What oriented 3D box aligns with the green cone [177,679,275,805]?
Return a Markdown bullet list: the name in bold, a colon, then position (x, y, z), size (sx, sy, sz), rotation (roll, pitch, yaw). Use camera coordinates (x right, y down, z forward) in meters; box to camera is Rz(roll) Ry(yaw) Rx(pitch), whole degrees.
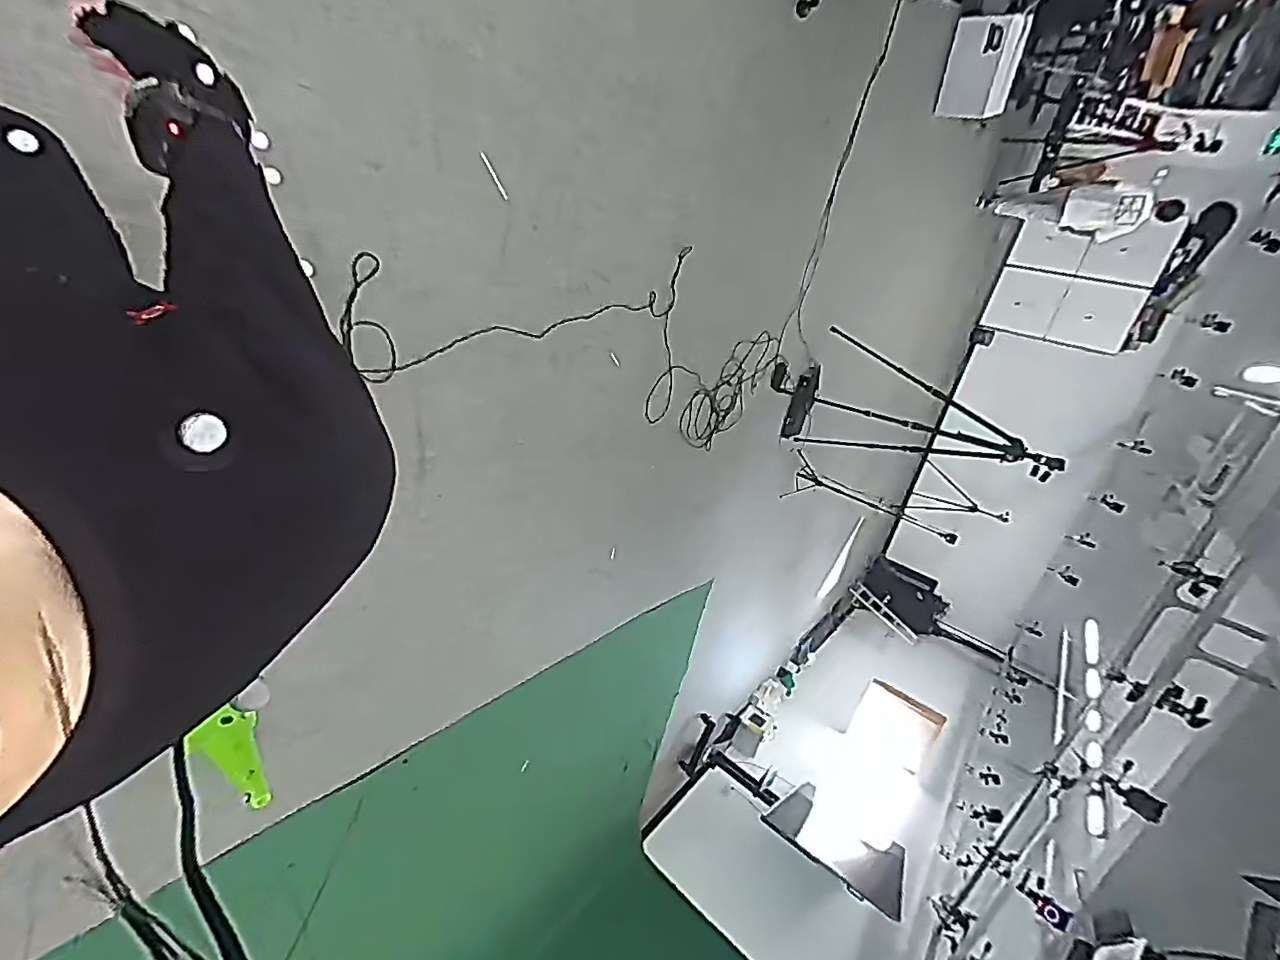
- **green cone**: position (-1.097, 0.760, 1.494), size (0.200, 0.368, 0.202), rotation (-12, 121, -52)
